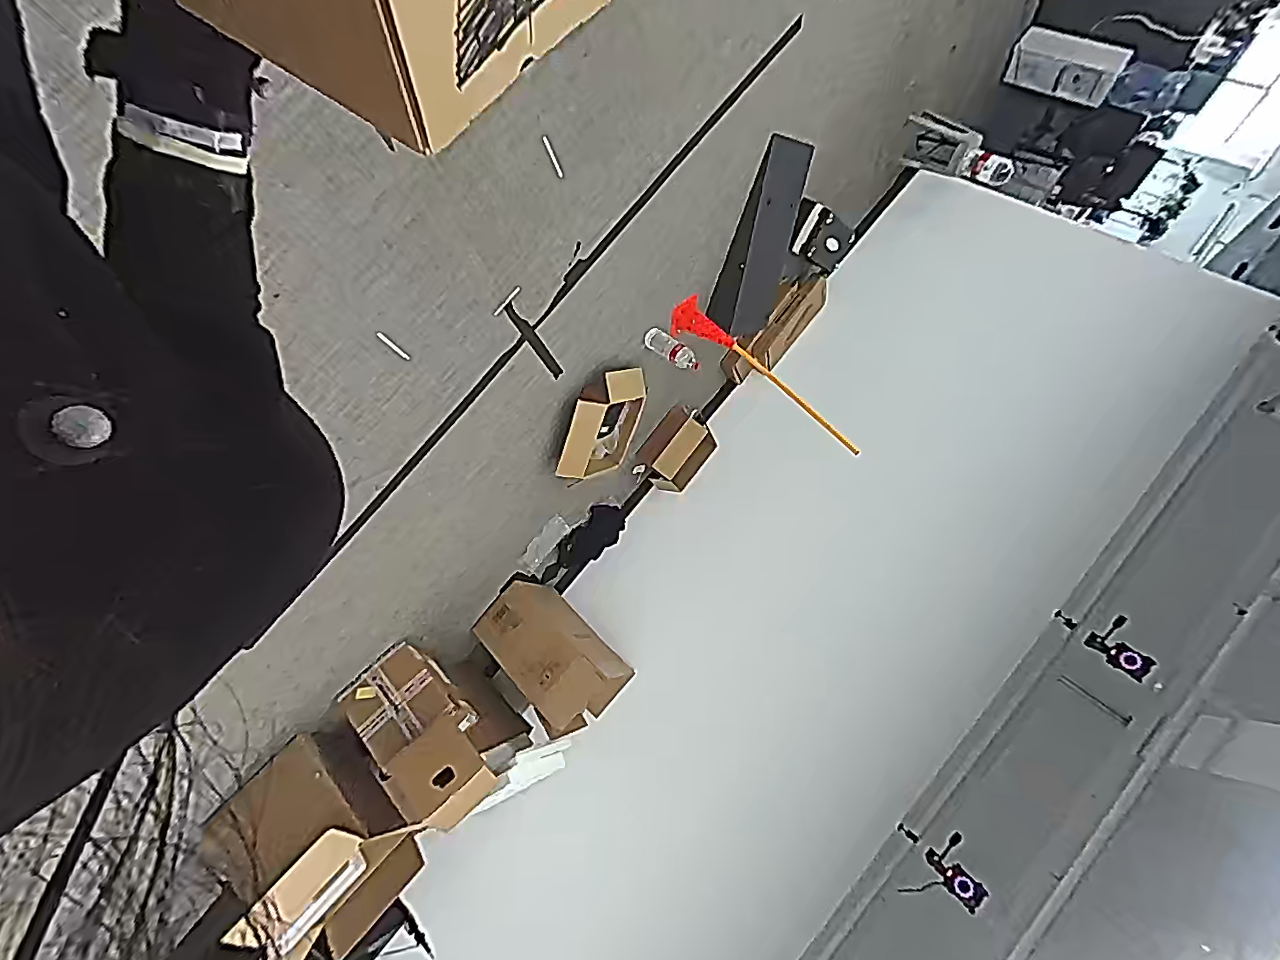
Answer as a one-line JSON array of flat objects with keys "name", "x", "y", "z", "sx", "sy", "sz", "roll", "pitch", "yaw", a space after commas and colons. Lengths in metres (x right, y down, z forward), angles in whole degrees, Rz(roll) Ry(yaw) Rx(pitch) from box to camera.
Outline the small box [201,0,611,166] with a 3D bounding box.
[{"name": "small box", "x": -0.120, "y": -0.295, "z": 0.235, "sx": 0.168, "sy": 0.176, "sz": 0.179, "roll": -57, "pitch": 175, "yaw": -19}]
